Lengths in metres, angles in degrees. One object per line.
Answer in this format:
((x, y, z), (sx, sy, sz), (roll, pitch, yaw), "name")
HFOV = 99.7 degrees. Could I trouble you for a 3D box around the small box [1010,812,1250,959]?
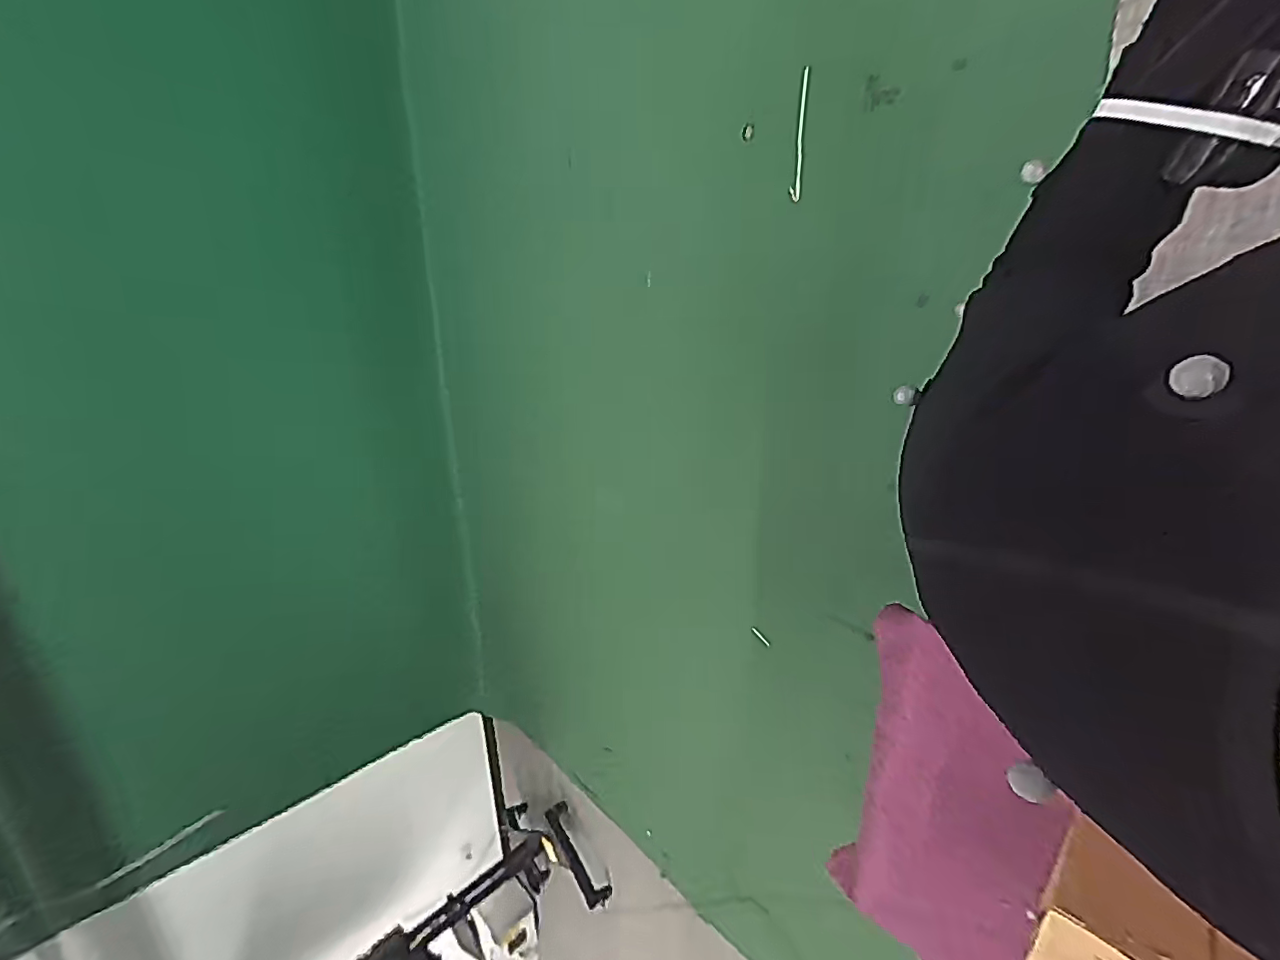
((0.568, 0.546, 0.637), (0.168, 0.176, 0.179), (25, 121, 42), "small box")
